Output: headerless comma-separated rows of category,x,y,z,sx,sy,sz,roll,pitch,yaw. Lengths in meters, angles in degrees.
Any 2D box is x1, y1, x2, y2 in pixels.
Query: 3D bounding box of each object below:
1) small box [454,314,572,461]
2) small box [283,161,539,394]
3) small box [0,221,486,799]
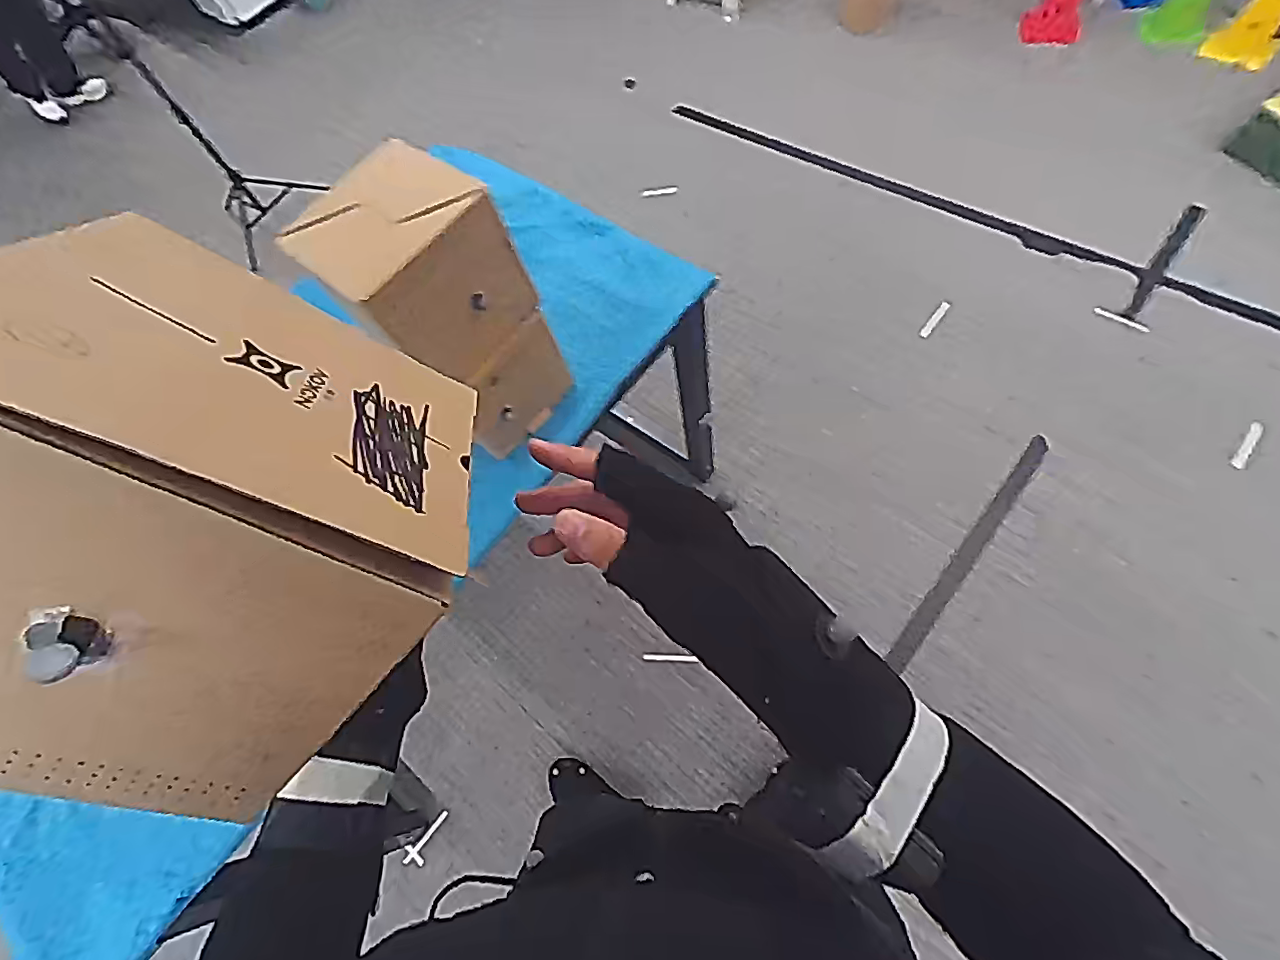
small box,-0.231,-0.162,0.773,0.179,0.176,0.168,34,75,21
small box,-0.256,-0.236,0.629,0.168,0.176,0.179,36,78,23
small box,-0.197,0.019,0.256,0.176,0.179,0.168,-46,32,17
